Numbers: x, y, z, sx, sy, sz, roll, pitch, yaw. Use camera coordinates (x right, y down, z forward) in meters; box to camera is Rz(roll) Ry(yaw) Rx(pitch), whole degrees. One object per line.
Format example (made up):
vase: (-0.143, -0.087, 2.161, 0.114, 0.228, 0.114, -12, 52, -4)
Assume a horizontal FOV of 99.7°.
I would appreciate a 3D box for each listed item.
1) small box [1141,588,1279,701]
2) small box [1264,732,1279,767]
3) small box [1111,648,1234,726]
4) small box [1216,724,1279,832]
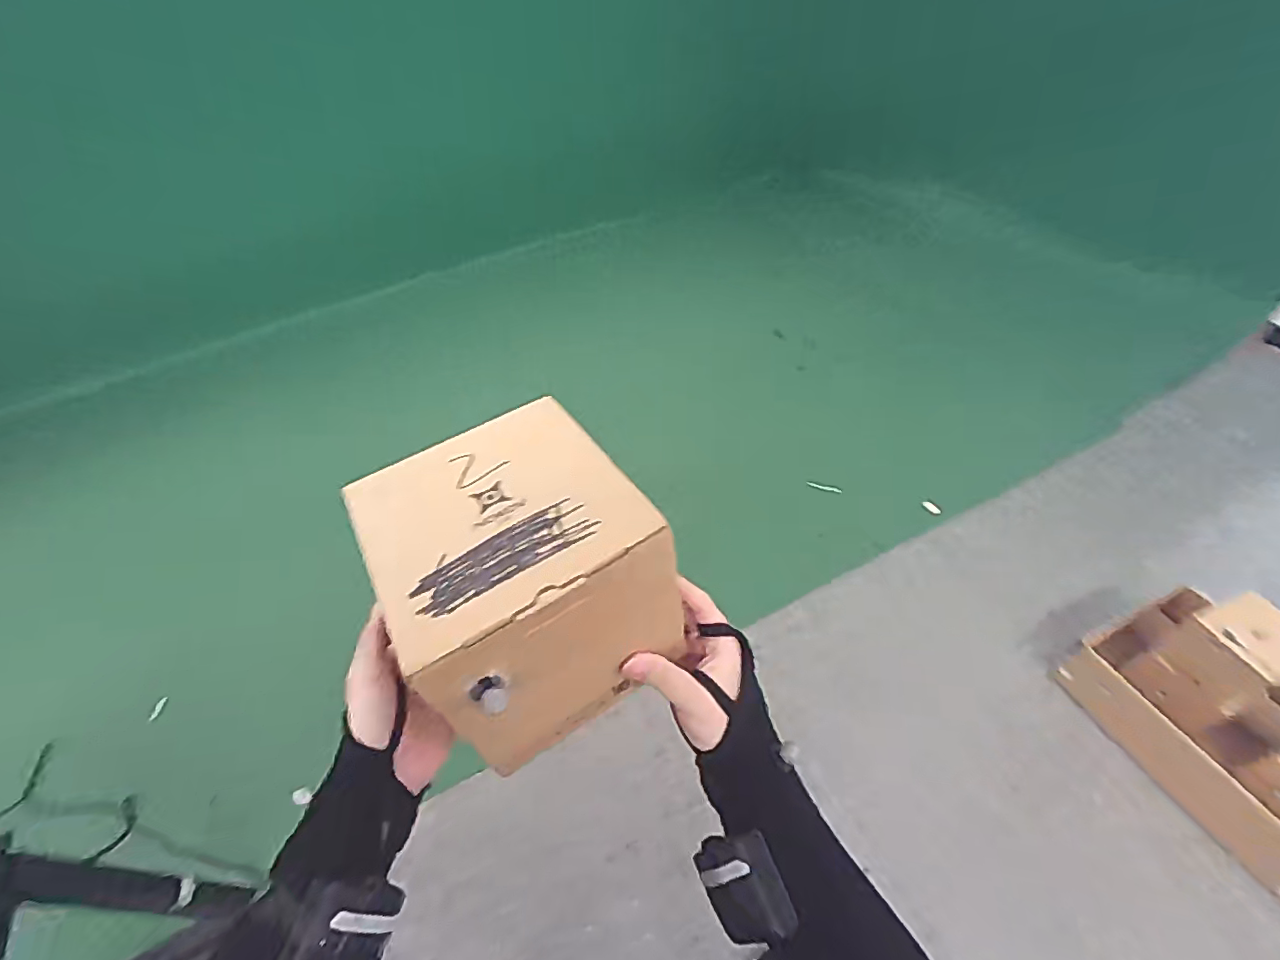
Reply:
small box: (1.355, 0.388, 1.269, 0.179, 0.176, 0.168, -18, 49, -10)
small box: (1.469, 0.560, 1.105, 0.179, 0.176, 0.168, -22, 48, -11)
small box: (1.372, 0.501, 1.388, 0.179, 0.176, 0.168, -24, 51, -13)
small box: (1.484, 0.672, 1.223, 0.179, 0.176, 0.168, -24, 49, -13)
